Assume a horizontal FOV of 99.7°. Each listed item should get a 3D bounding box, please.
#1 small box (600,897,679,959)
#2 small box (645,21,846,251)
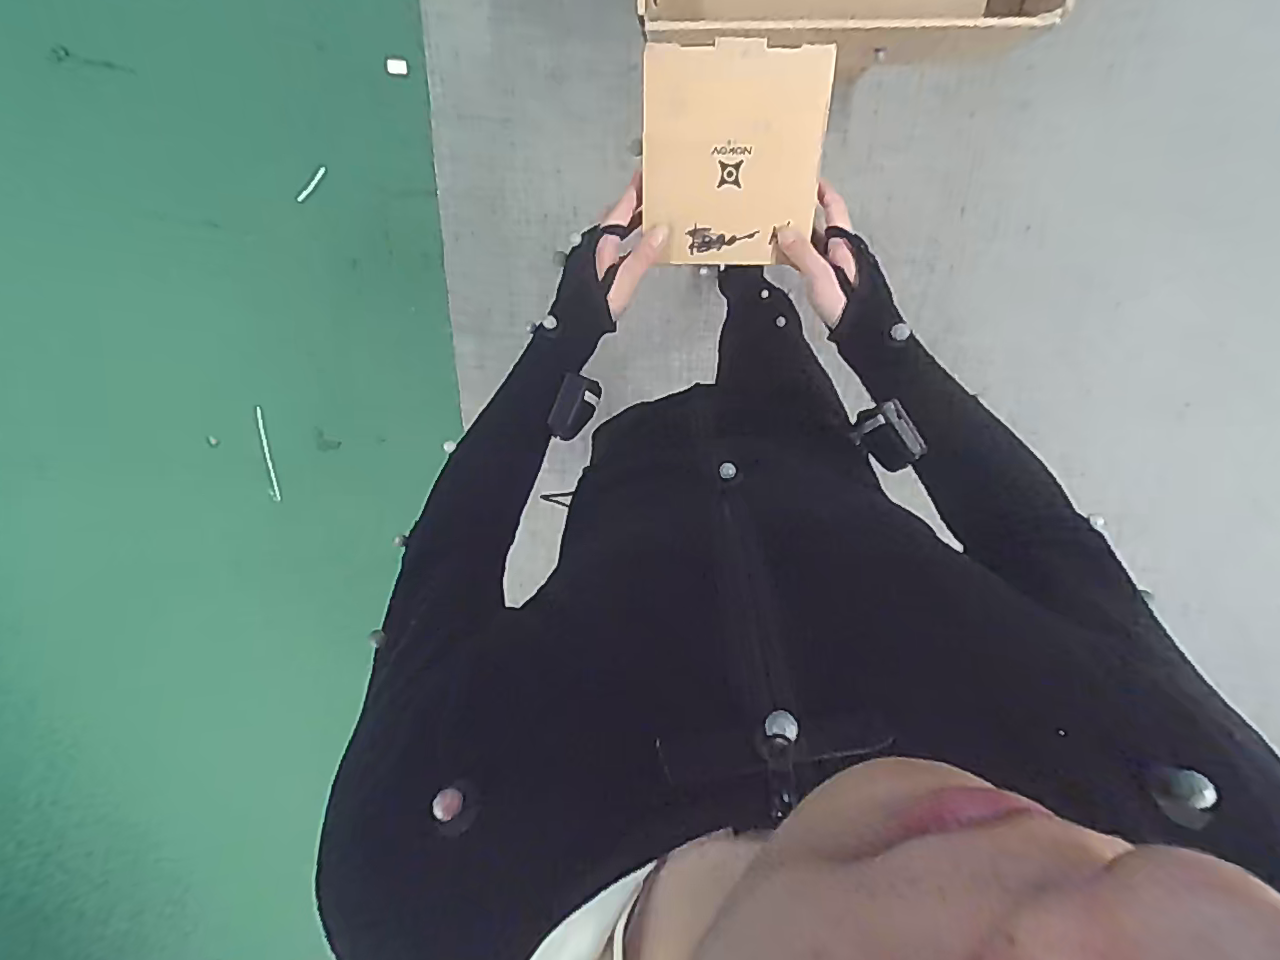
[{"bbox_3d":[0.001,1.075,1.198,0.168,0.176,0.179,0,111,4],"label":"small box"},{"bbox_3d":[0.091,-0.339,0.560,0.168,0.176,0.179,0,118,-1],"label":"small box"}]
